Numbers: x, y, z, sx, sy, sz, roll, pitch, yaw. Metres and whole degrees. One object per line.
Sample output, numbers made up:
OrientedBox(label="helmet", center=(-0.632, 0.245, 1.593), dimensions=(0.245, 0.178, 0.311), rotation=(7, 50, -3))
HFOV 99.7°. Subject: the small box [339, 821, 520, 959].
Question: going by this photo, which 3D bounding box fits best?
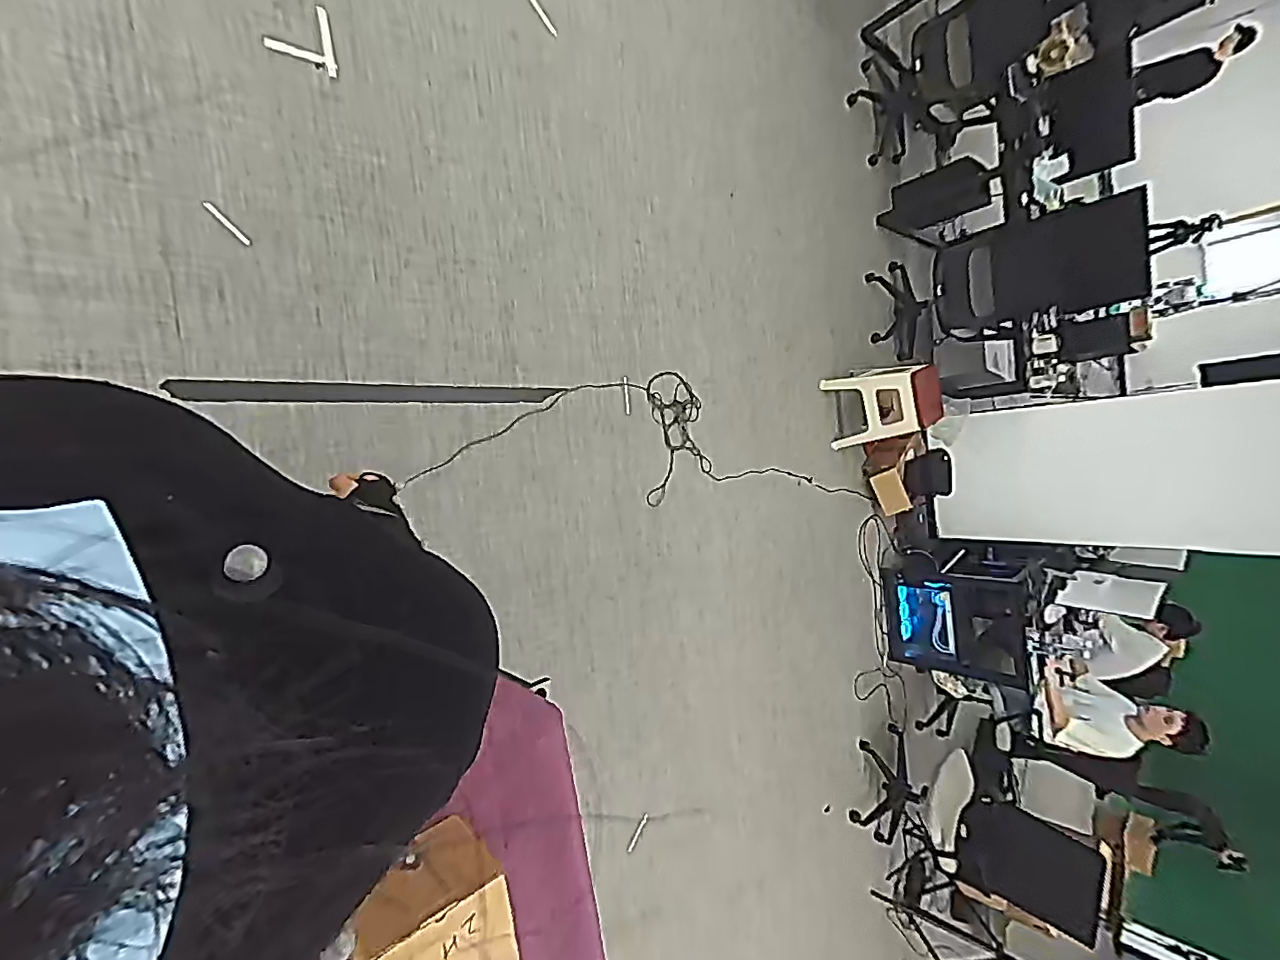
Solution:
OrientedBox(label="small box", center=(-0.271, 0.594, 0.698), dimensions=(0.168, 0.176, 0.179), rotation=(-12, 95, -40))
